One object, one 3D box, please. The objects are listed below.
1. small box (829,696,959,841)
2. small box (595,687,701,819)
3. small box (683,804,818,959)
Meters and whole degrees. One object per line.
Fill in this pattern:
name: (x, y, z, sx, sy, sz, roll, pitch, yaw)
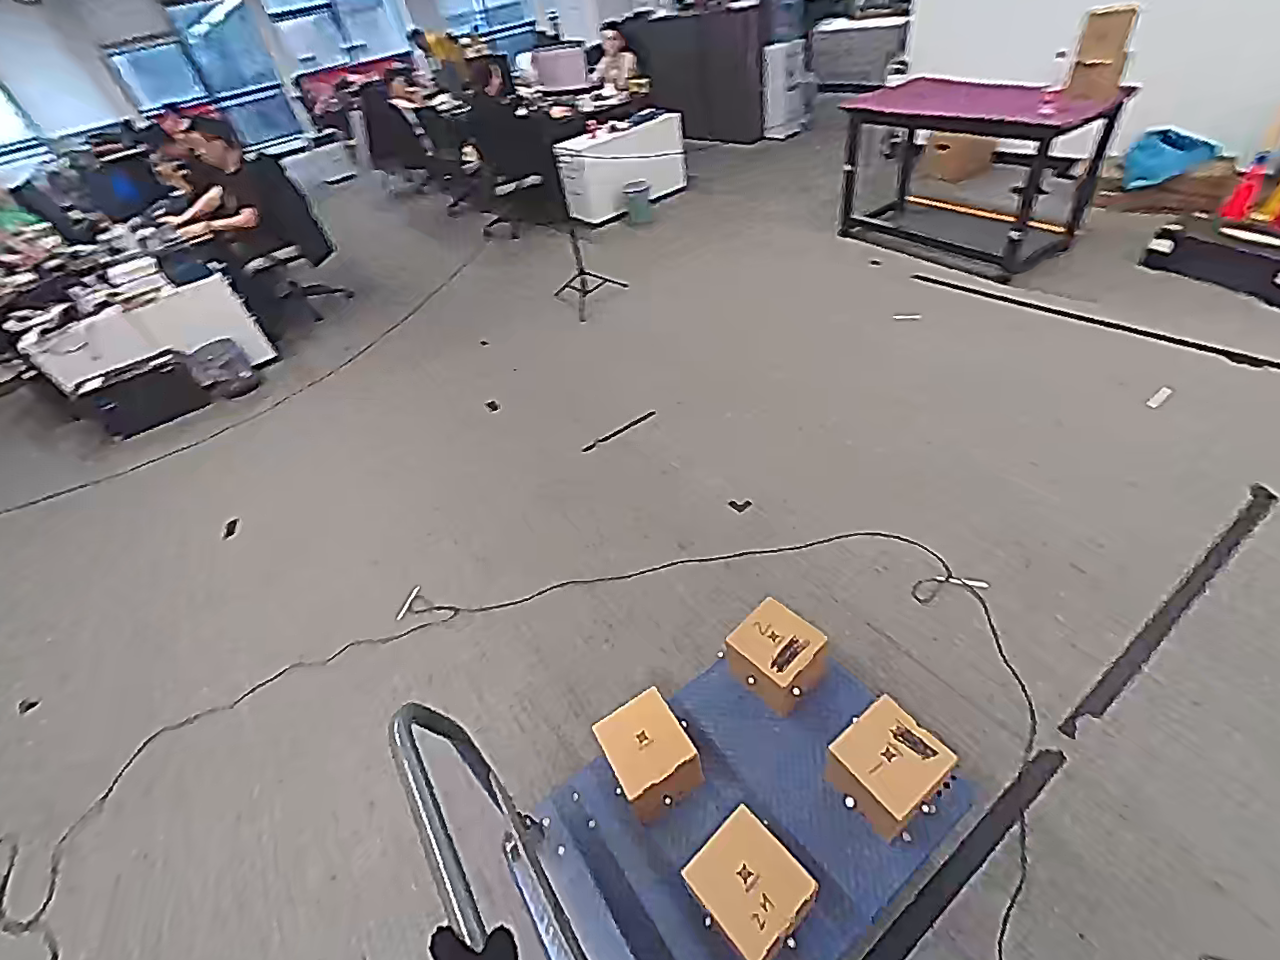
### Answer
small box: (0.503, 0.585, 1.100, 0.179, 0.176, 0.168, -32, 46, -18)
small box: (0.020, 0.606, 1.196, 0.168, 0.176, 0.179, -28, 47, -17)
small box: (0.202, 0.753, 0.996, 0.168, 0.176, 0.179, -36, 47, -22)
